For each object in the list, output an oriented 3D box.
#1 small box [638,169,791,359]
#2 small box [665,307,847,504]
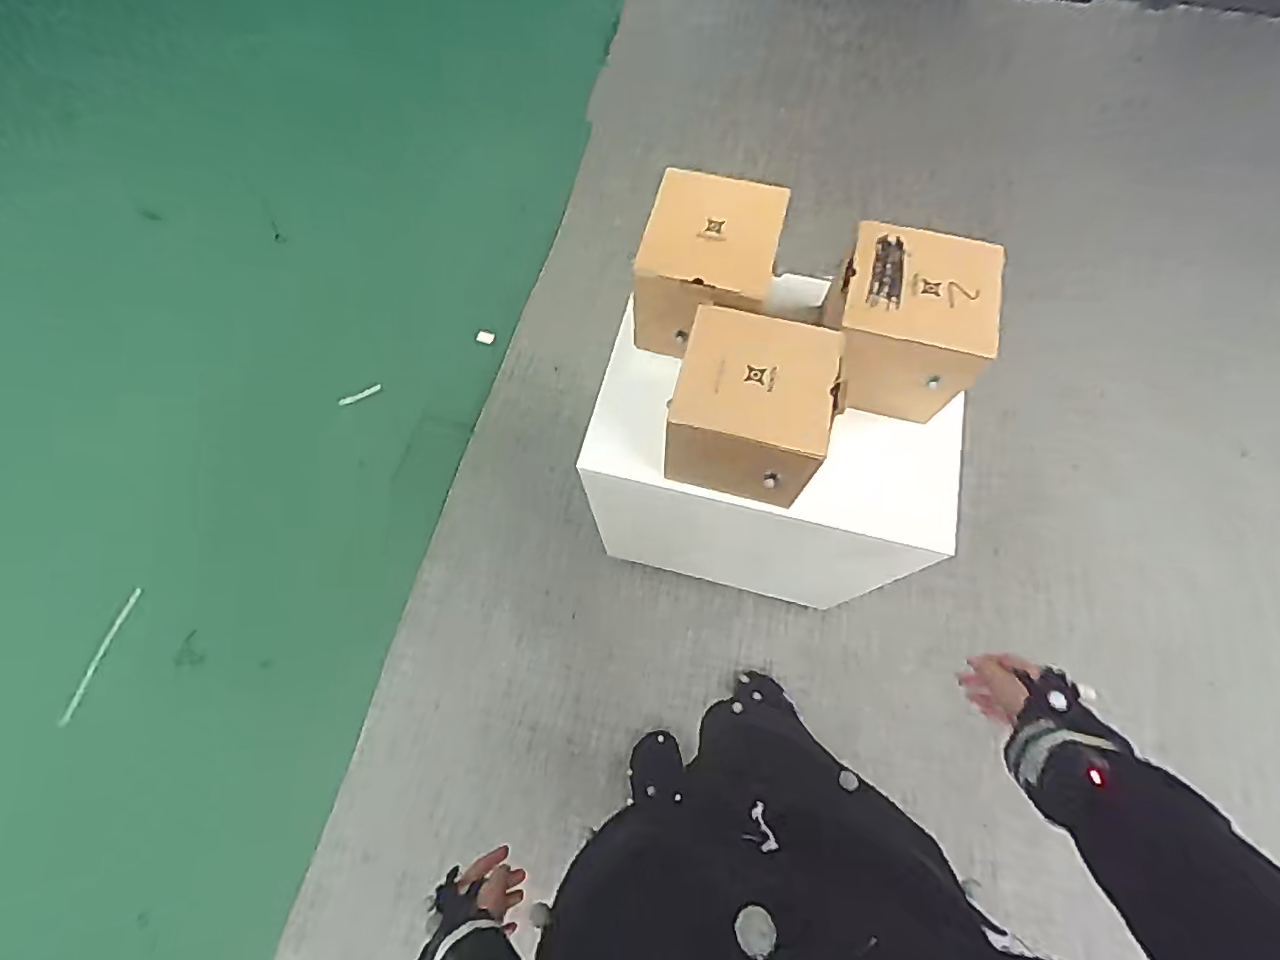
[{"bbox_3d":[0.095,-0.283,0.749,0.168,0.176,0.179,14,71,5],"label":"small box"},{"bbox_3d":[0.135,-0.082,0.673,0.179,0.176,0.168,13,68,7],"label":"small box"}]
